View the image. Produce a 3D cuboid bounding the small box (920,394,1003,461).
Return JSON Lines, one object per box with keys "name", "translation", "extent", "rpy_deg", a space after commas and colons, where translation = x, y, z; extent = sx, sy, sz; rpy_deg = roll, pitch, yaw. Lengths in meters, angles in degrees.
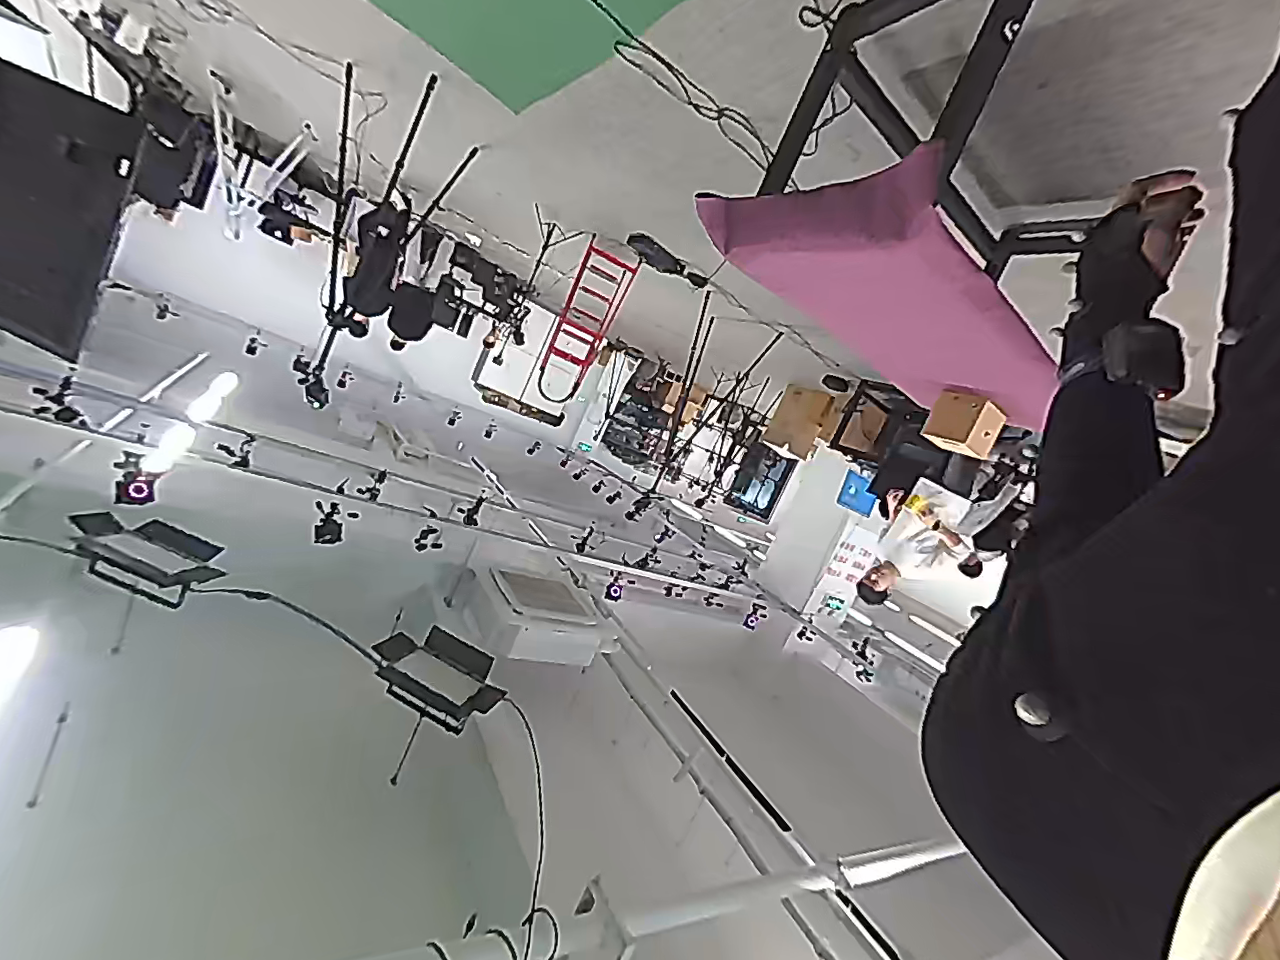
{"name": "small box", "translation": [1.138, -0.190, 1.910], "extent": [0.179, 0.176, 0.168], "rpy_deg": [19, -172, -35]}
